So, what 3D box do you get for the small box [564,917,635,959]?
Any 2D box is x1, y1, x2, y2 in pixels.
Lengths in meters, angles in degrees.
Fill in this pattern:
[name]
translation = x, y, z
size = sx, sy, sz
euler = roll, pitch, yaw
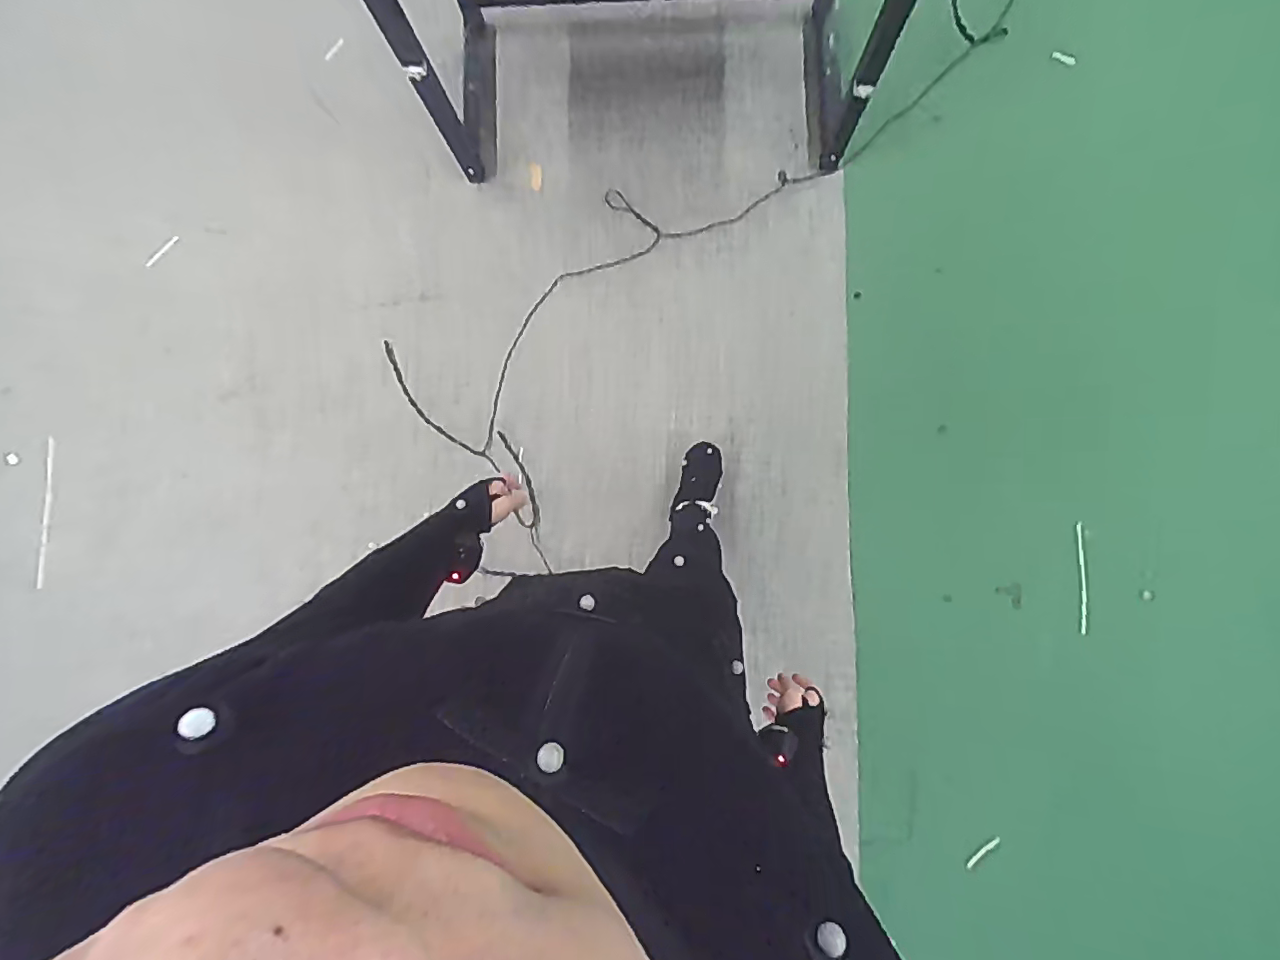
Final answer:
[small box]
translation = -0.106, 1.279, 1.399
size = 0.179, 0.176, 0.168
euler = 1, 85, 6
